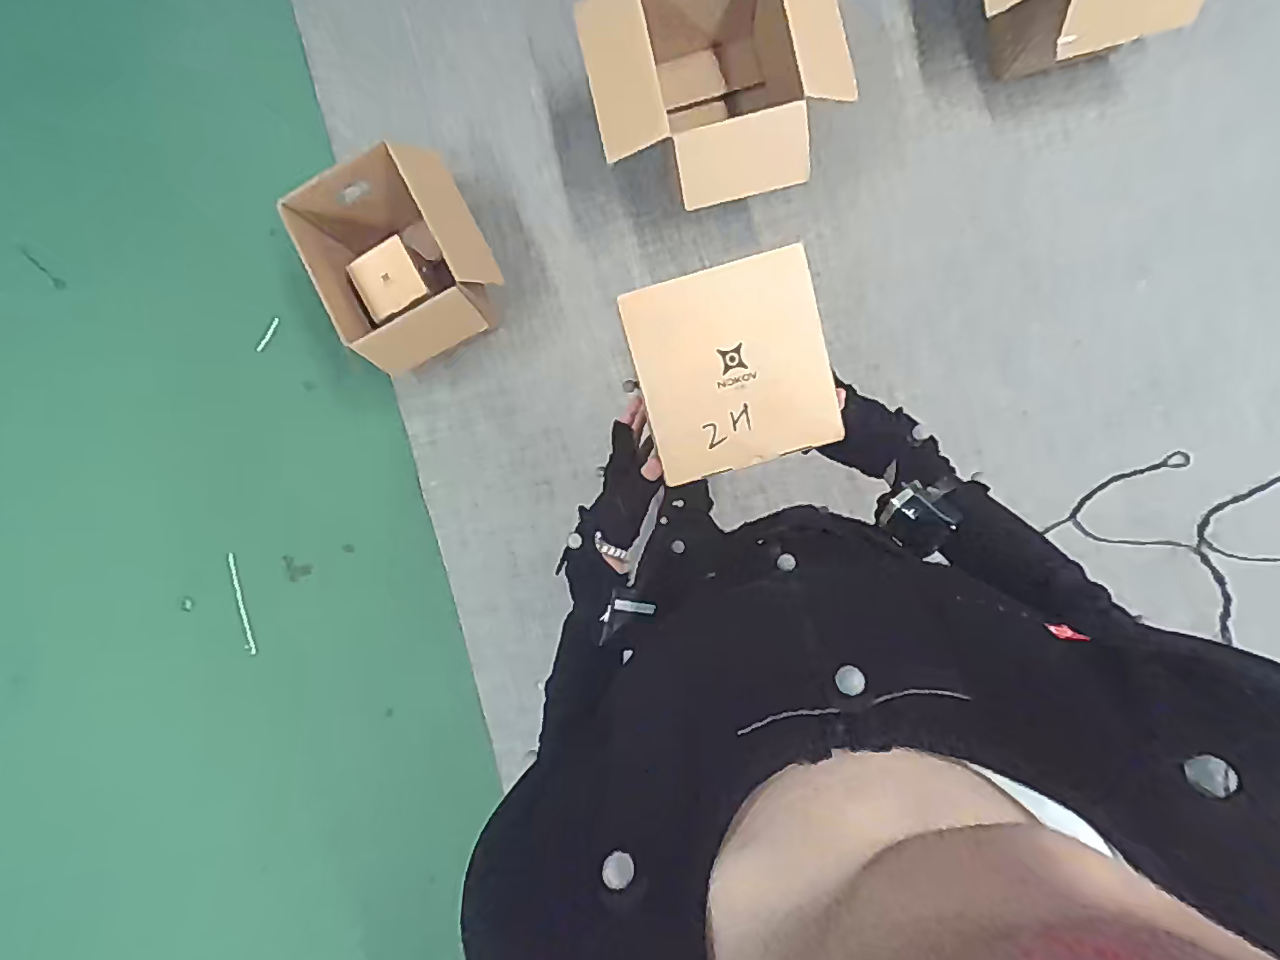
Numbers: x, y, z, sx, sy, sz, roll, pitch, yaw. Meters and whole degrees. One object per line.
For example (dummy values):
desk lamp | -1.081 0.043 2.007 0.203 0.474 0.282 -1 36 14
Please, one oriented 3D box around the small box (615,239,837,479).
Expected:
small box | 0.074 -0.113 0.547 0.168 0.176 0.179 -15 99 2
